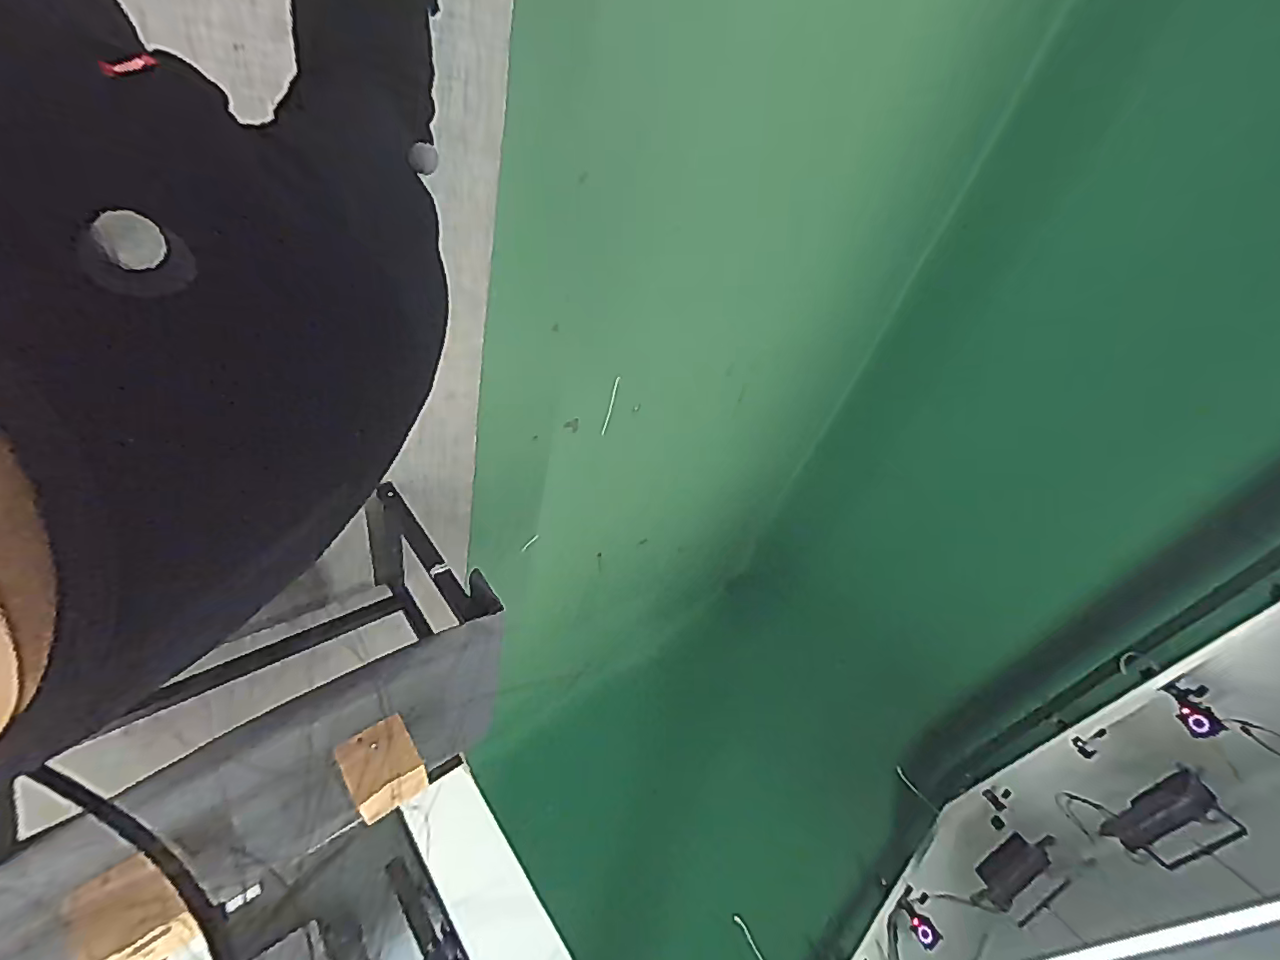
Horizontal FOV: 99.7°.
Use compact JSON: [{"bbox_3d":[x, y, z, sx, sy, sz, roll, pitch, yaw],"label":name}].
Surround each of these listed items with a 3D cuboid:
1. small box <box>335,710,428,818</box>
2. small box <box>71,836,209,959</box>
[{"bbox_3d":[-0.687,0.751,1.443,0.168,0.176,0.179,-25,145,-35],"label":"small box"},{"bbox_3d":[-1.057,0.902,1.147,0.168,0.176,0.179,-22,144,-37],"label":"small box"}]
